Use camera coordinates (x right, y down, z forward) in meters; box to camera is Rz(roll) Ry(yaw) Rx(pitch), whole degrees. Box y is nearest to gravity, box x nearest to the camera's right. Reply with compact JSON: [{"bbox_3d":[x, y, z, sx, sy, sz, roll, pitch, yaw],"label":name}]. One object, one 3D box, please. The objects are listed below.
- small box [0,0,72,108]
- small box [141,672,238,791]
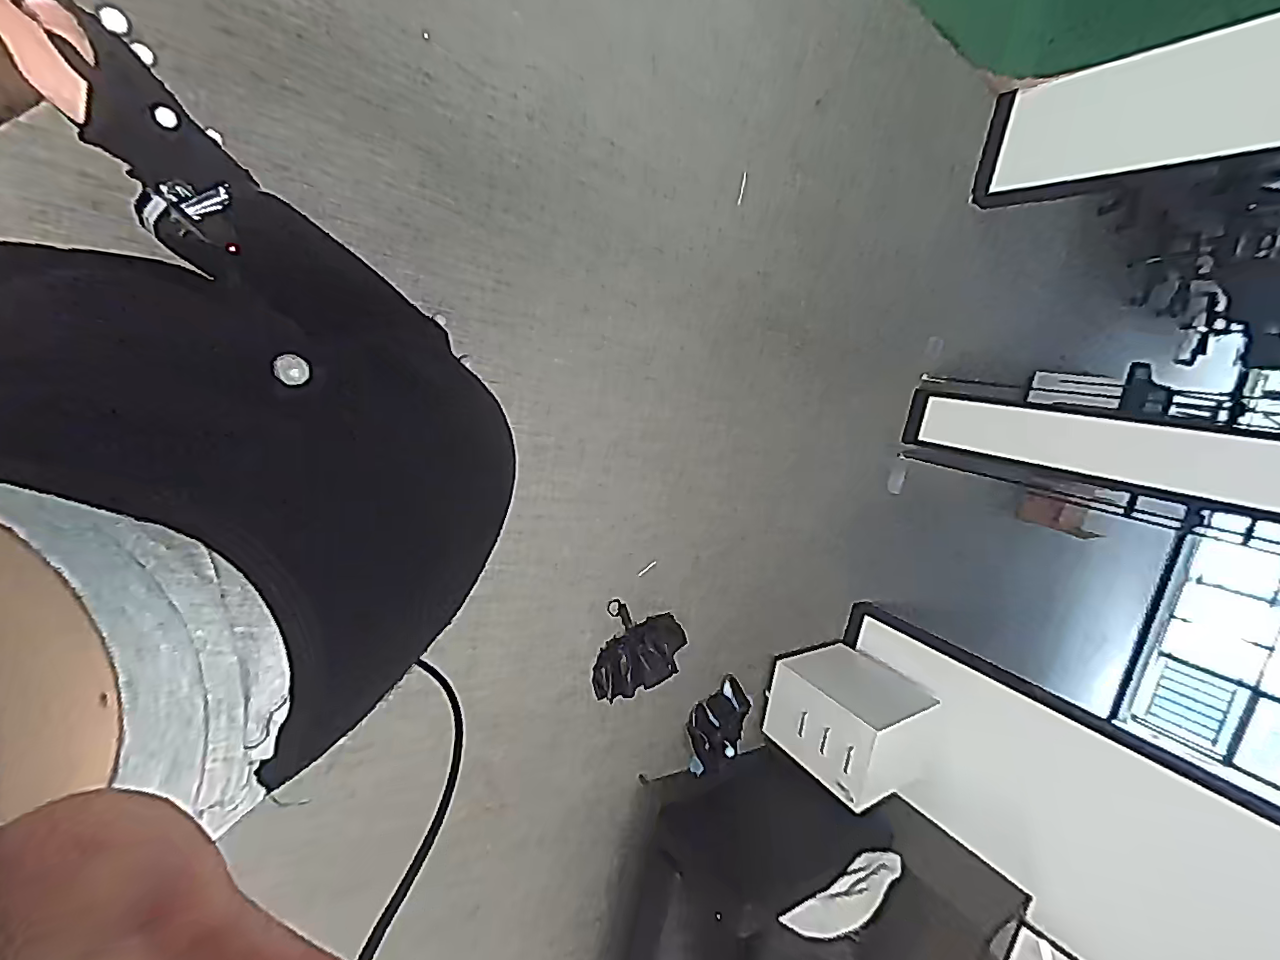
[{"bbox_3d":[-0.530,-0.321,0.327,0.168,0.176,0.179,-36,123,-5],"label":"small box"},{"bbox_3d":[-1.081,0.598,1.309,0.168,0.176,0.179,-2,105,-35],"label":"small box"}]
